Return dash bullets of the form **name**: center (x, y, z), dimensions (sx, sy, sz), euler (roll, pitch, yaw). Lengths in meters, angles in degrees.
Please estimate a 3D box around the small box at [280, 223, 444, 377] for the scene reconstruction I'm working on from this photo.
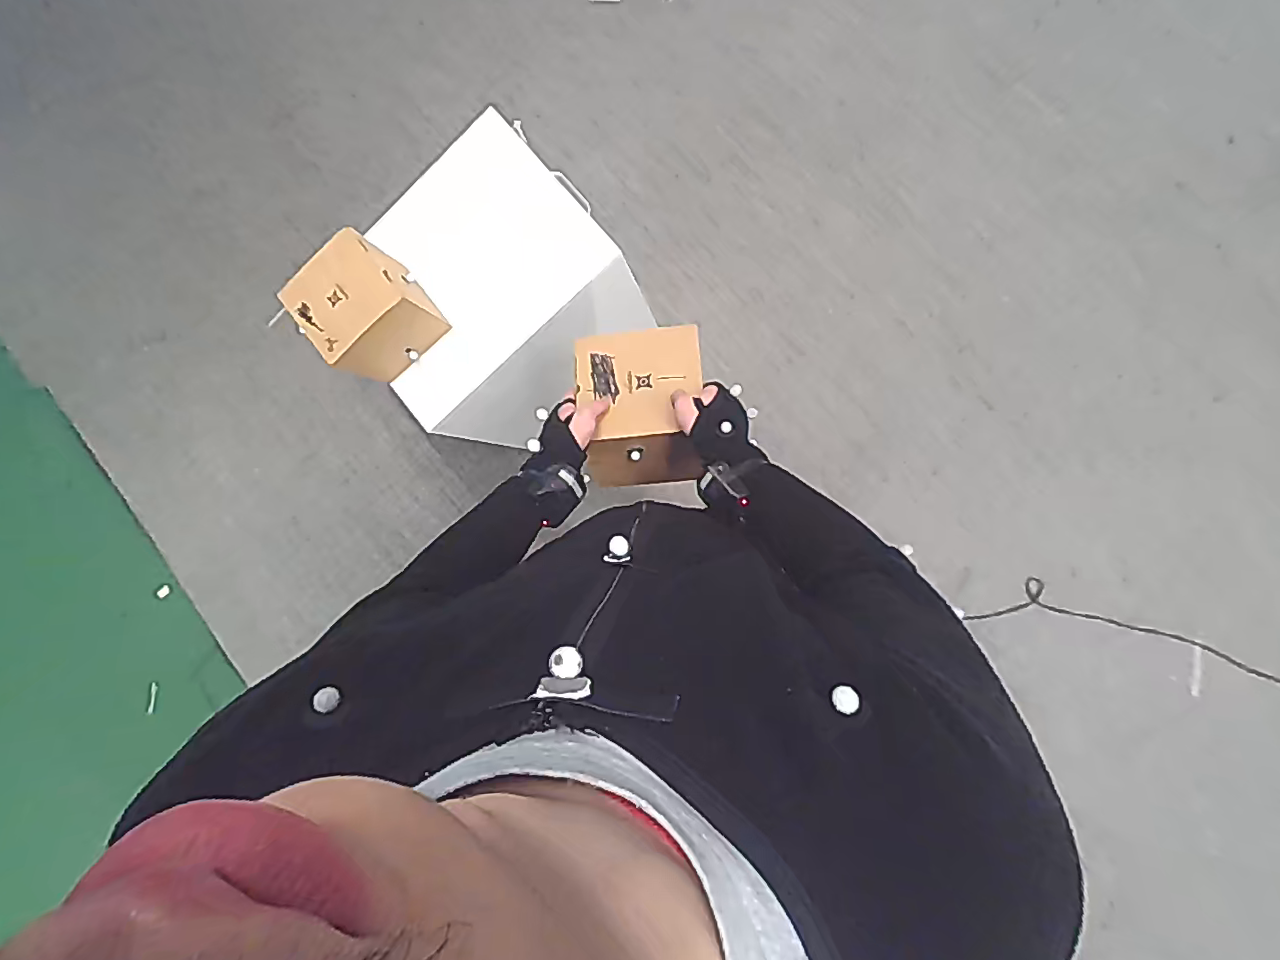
- **small box**: center (-0.487, -0.315, 0.982), dimensions (0.179, 0.176, 0.168), euler (-39, 83, 7)

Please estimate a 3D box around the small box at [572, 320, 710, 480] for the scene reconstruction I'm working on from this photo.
- **small box**: center (0.008, -0.107, 0.791), dimensions (0.179, 0.176, 0.168), euler (-5, 68, 7)
